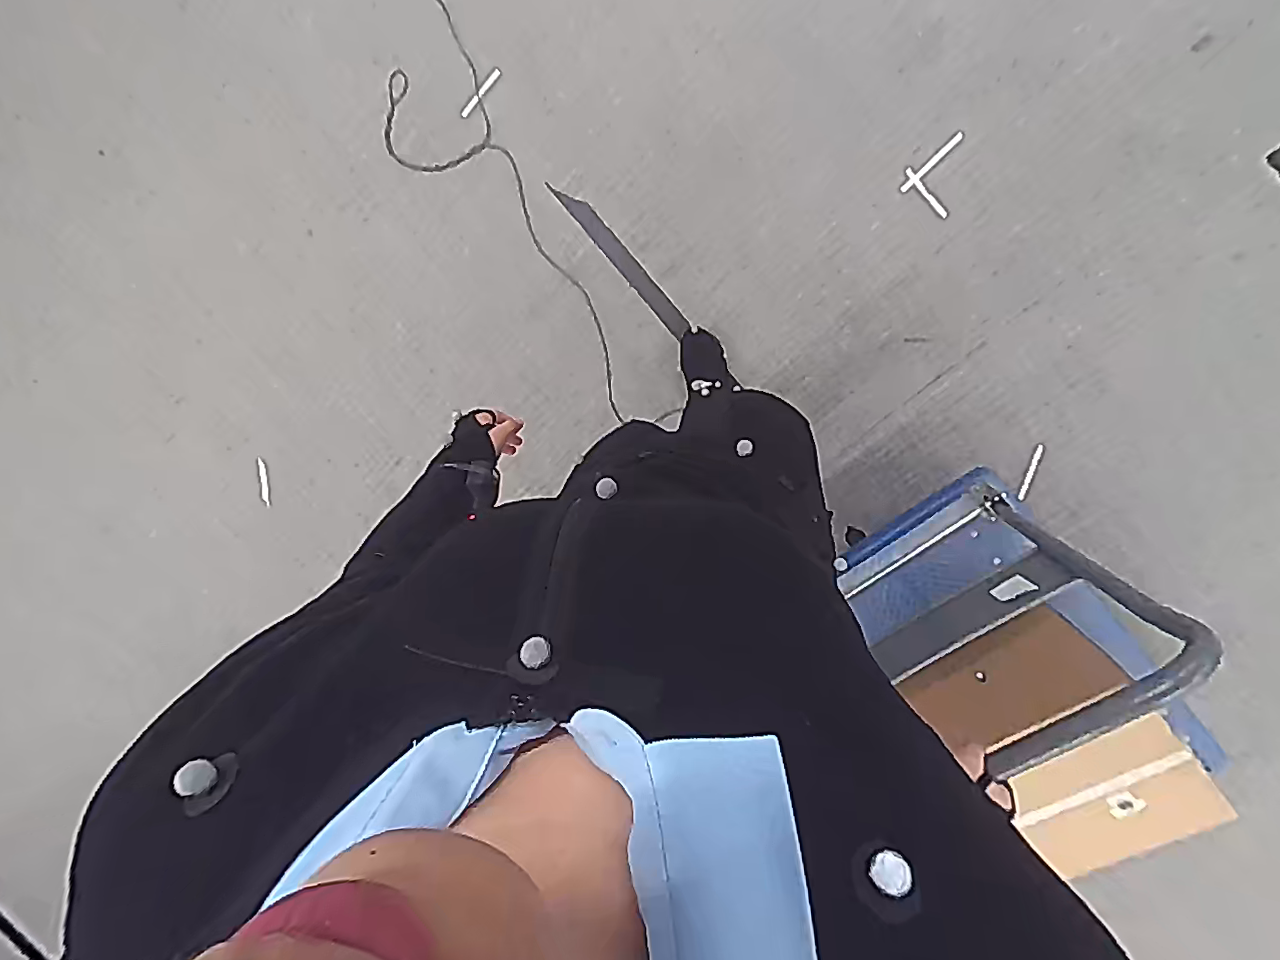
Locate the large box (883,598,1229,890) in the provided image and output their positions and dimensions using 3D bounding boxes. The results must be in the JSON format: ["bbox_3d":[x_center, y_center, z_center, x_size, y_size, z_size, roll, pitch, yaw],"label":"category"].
[{"bbox_3d":[0.794,0.520,1.114,0.408,0.320,0.320,-38,94,17],"label":"large box"}]
